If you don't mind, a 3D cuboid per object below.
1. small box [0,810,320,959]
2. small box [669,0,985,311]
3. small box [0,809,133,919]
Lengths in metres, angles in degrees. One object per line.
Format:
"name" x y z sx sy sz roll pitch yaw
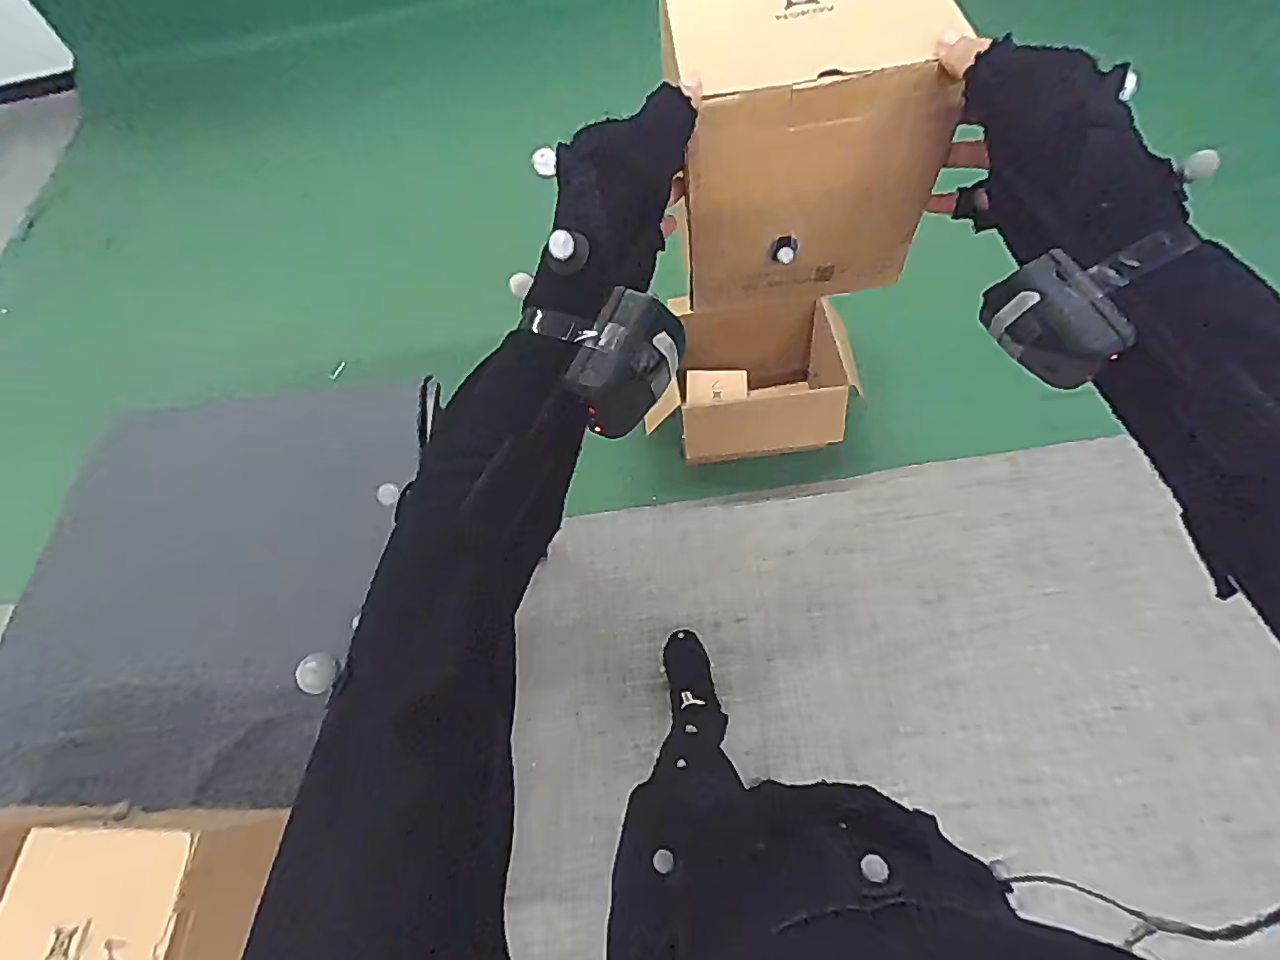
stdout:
"small box" -0.459 0.425 0.522 0.179 0.176 0.168 -4 64 6
"small box" 0.111 -0.258 0.410 0.168 0.176 0.179 -7 64 4
"small box" -0.686 0.438 0.547 0.179 0.176 0.168 -3 64 6
